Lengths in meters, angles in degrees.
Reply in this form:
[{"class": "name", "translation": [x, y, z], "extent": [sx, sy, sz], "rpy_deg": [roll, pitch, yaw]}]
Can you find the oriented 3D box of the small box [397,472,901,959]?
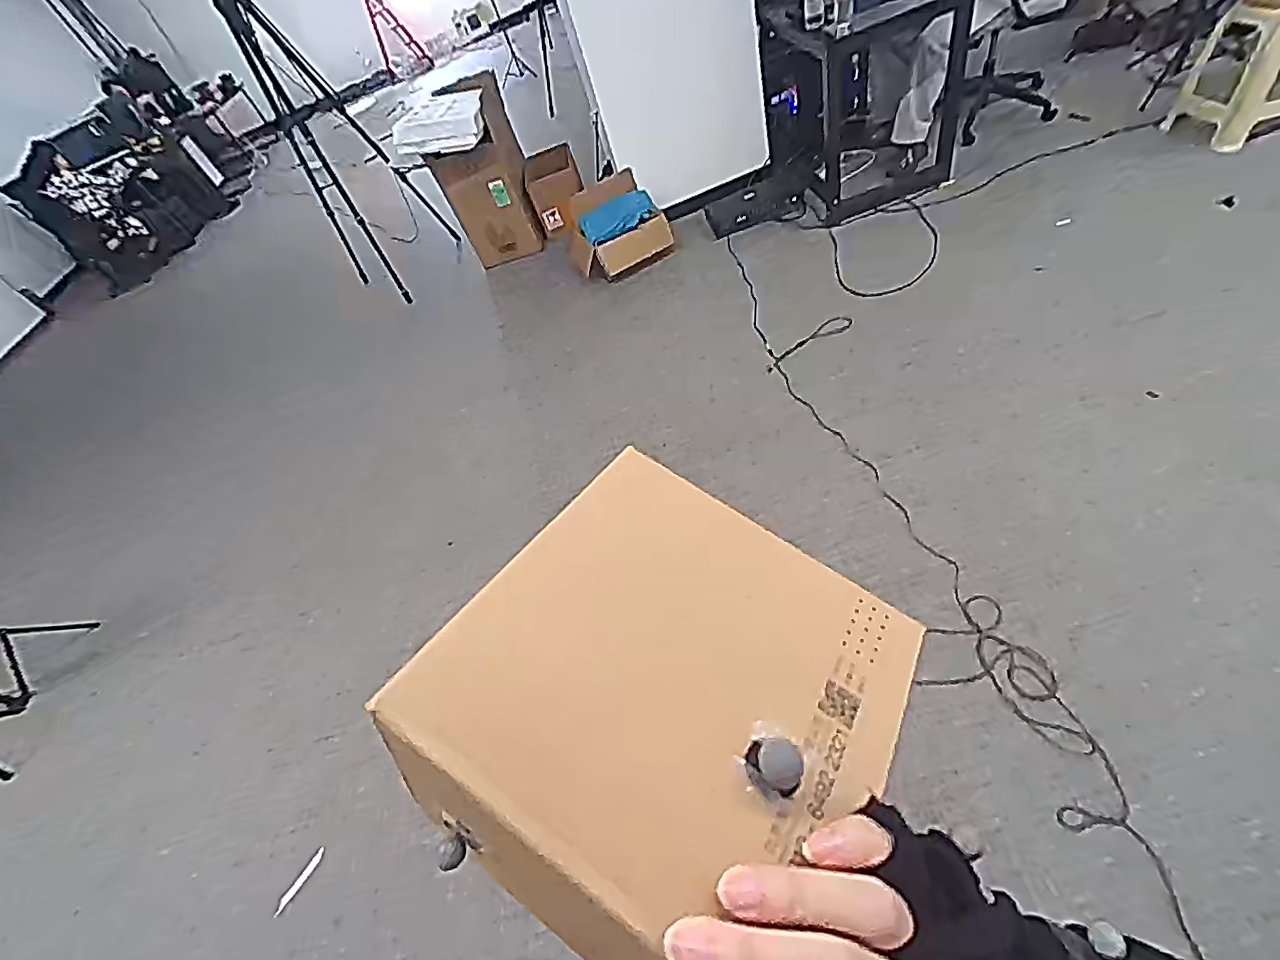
[{"class": "small box", "translation": [0.005, 0.136, 0.294], "extent": [0.176, 0.179, 0.168], "rpy_deg": [31, 50, 13]}]
